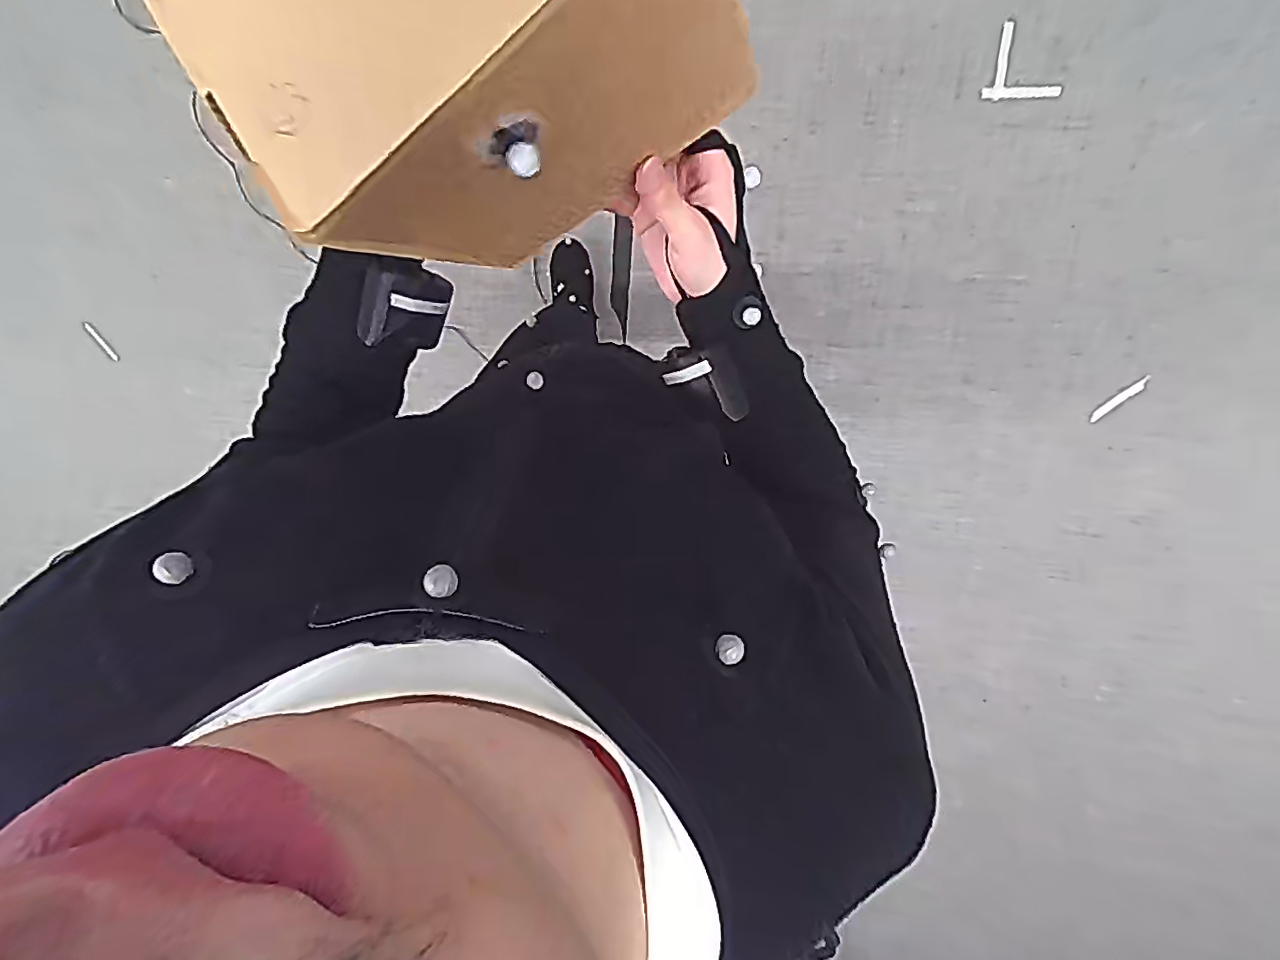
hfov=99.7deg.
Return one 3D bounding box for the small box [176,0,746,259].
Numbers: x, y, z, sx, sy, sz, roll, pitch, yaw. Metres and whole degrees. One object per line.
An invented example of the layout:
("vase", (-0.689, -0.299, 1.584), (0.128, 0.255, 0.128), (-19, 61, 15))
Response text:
("small box", (-0.070, -0.220, 0.242), (0.179, 0.176, 0.168), (-27, 98, 22))
